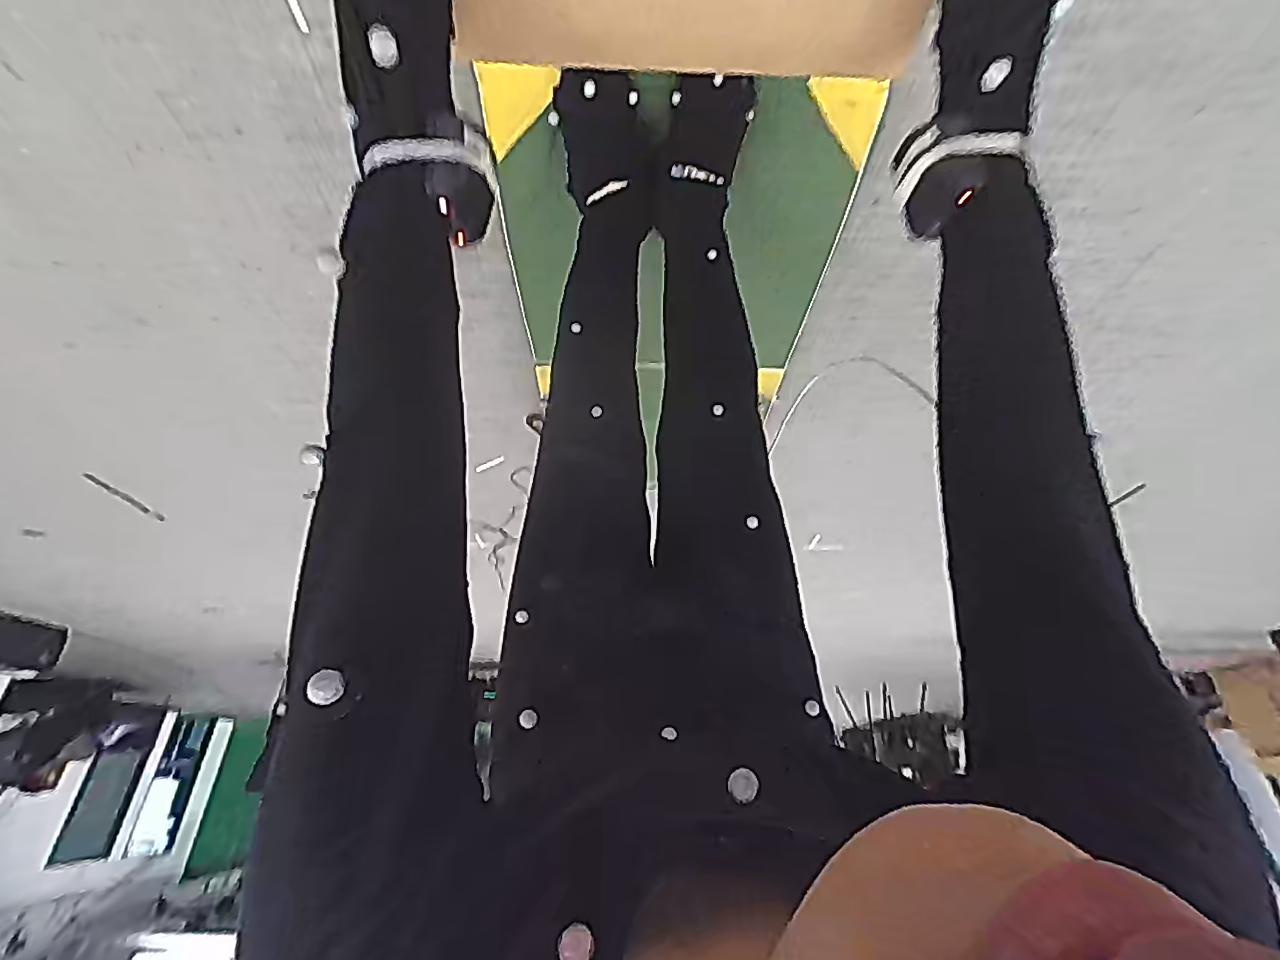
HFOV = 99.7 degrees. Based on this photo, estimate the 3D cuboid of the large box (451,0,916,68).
[{"bbox_3d":[0.036,-0.587,0.442,0.408,0.320,0.320,0,151,-2],"label":"large box"}]
